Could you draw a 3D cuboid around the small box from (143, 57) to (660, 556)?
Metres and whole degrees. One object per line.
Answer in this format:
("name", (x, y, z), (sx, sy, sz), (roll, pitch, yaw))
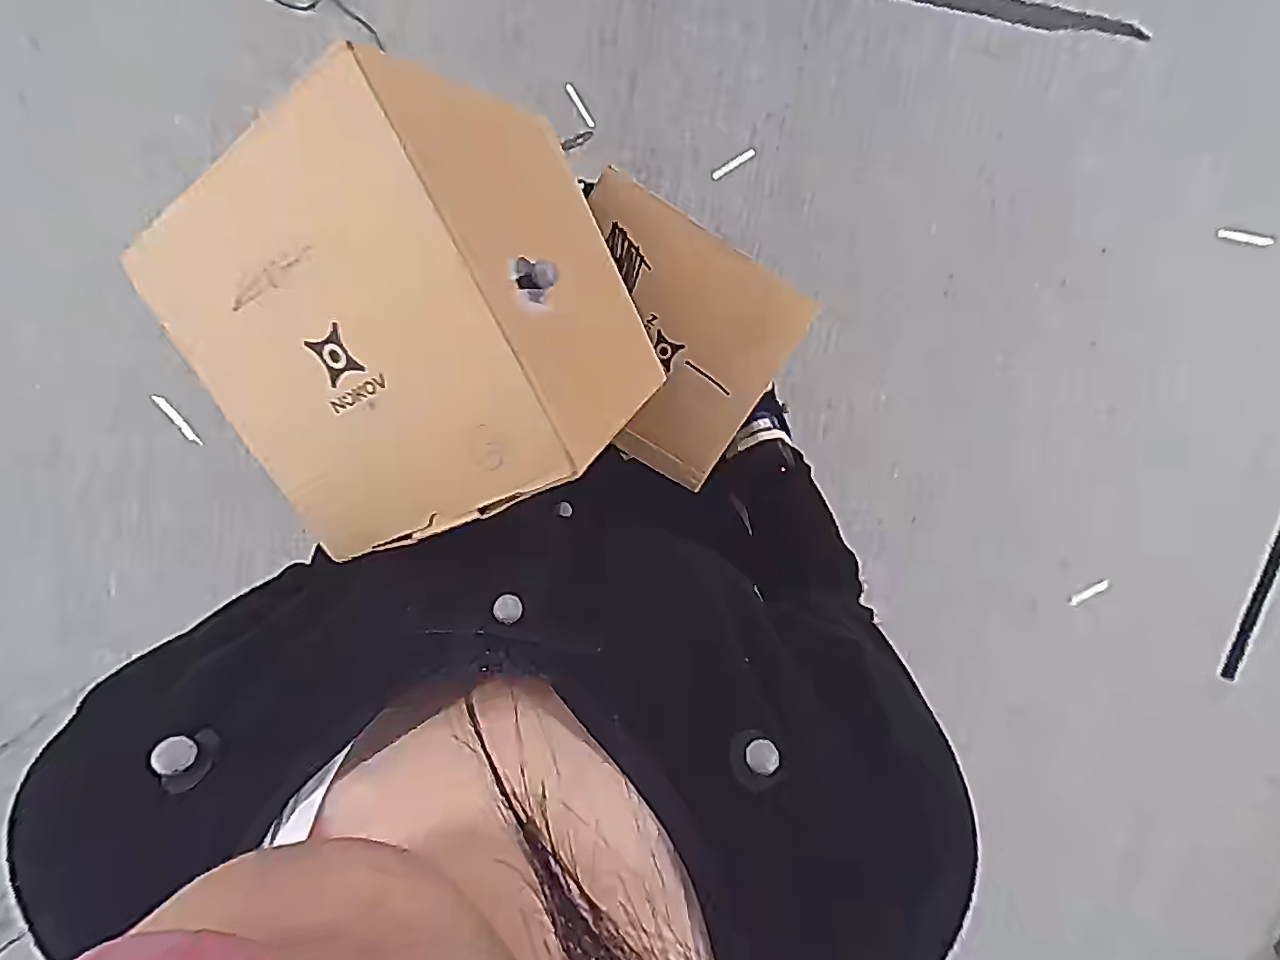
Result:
("small box", (-0.106, -0.087, 0.314), (0.168, 0.176, 0.179), (-19, 107, 24))

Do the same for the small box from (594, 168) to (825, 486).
("small box", (0.021, -0.127, 0.468), (0.179, 0.176, 0.168), (31, 110, -7))
